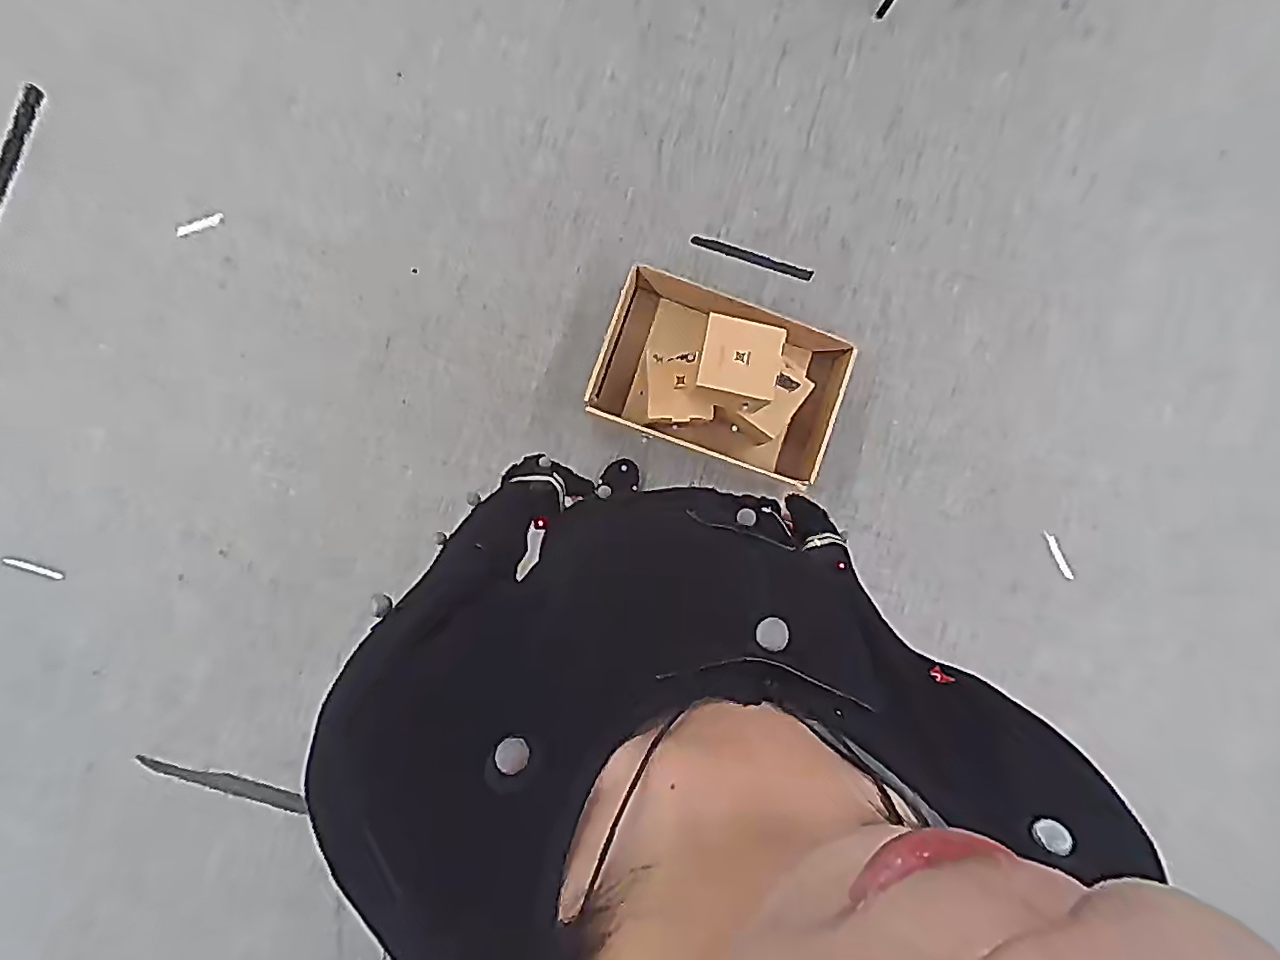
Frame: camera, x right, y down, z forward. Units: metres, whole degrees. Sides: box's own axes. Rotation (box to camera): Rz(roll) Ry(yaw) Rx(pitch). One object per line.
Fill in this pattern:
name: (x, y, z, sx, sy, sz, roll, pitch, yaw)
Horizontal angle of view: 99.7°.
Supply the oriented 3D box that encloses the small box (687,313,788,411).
small box: (0.218, -0.262, 1.245, 0.179, 0.176, 0.168, 11, 87, -2)
